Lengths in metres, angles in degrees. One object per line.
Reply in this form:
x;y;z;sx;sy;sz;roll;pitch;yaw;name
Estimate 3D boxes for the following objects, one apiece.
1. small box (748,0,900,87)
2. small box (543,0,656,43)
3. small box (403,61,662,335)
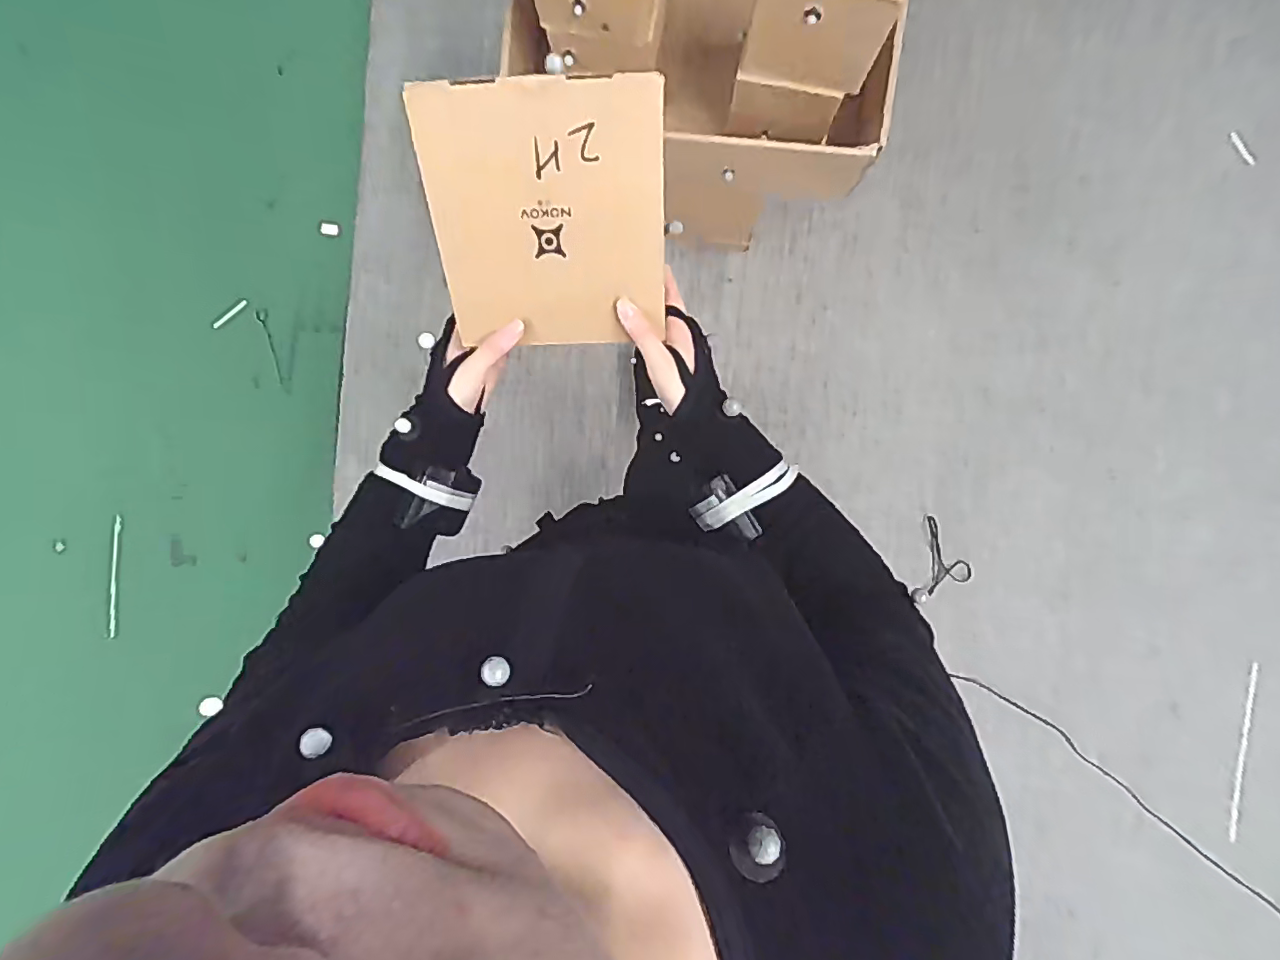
0.251;-0.665;0.714;0.179;0.176;0.168;14;94;2;small box
-0.053;-0.751;0.726;0.168;0.176;0.179;13;94;2;small box
-0.065;-0.235;0.450;0.168;0.176;0.179;-1;125;1;small box
